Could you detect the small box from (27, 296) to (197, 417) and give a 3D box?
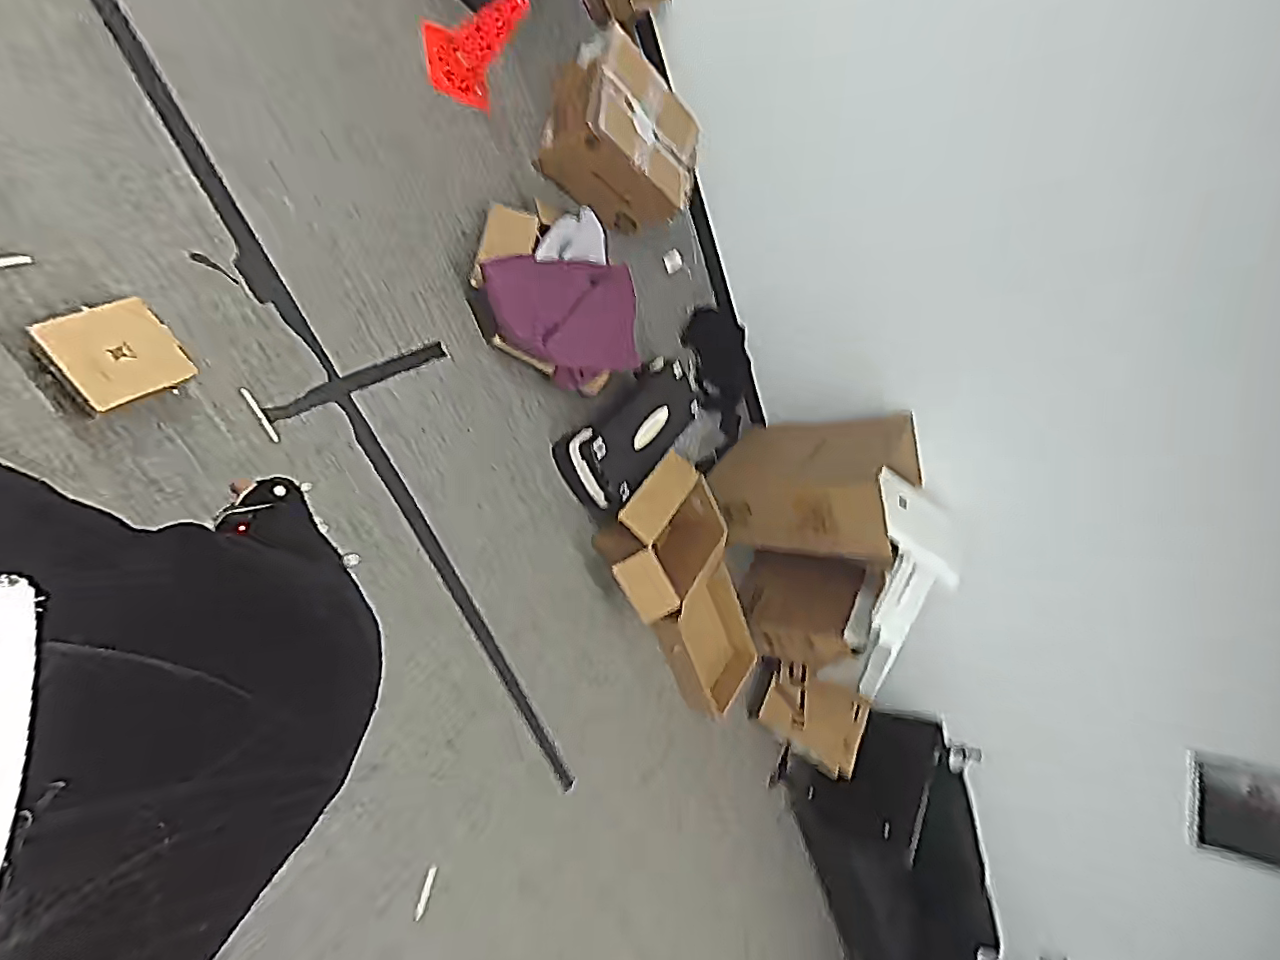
[{"bbox_3d":[-1.025,-0.237,1.054,0.179,0.176,0.168,-43,119,-38],"label":"small box"}]
